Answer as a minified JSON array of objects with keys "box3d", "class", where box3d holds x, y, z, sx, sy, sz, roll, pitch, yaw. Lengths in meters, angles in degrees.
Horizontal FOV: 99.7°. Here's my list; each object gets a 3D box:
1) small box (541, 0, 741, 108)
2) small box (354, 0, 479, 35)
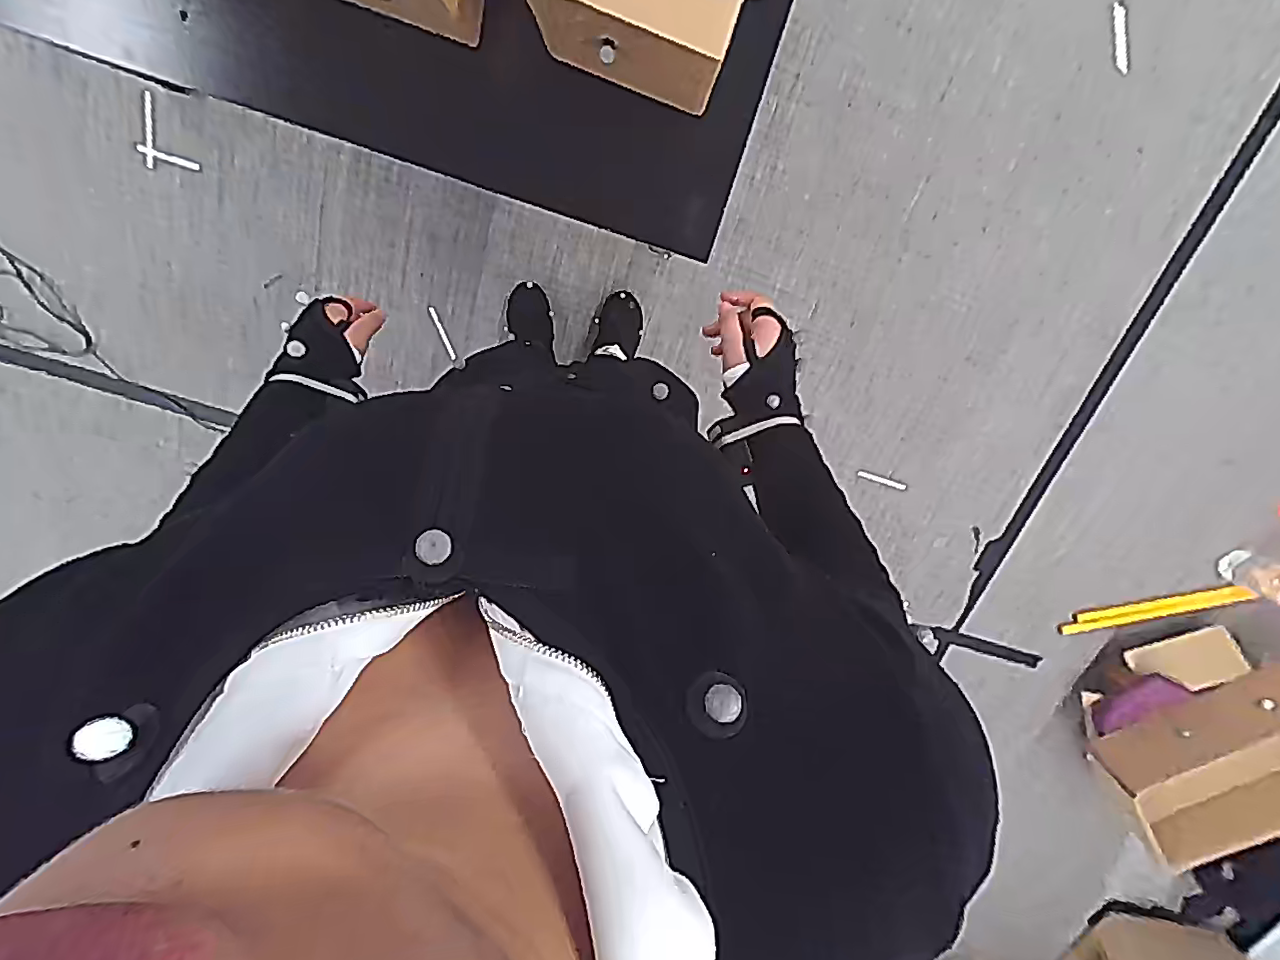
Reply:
[{"box3d":[0.011,-0.474,0.490,0.179,0.176,0.168,18,110,-6],"class":"small box"},{"box3d":[-0.230,-0.530,0.466,0.179,0.176,0.168,16,110,-6],"class":"small box"}]
